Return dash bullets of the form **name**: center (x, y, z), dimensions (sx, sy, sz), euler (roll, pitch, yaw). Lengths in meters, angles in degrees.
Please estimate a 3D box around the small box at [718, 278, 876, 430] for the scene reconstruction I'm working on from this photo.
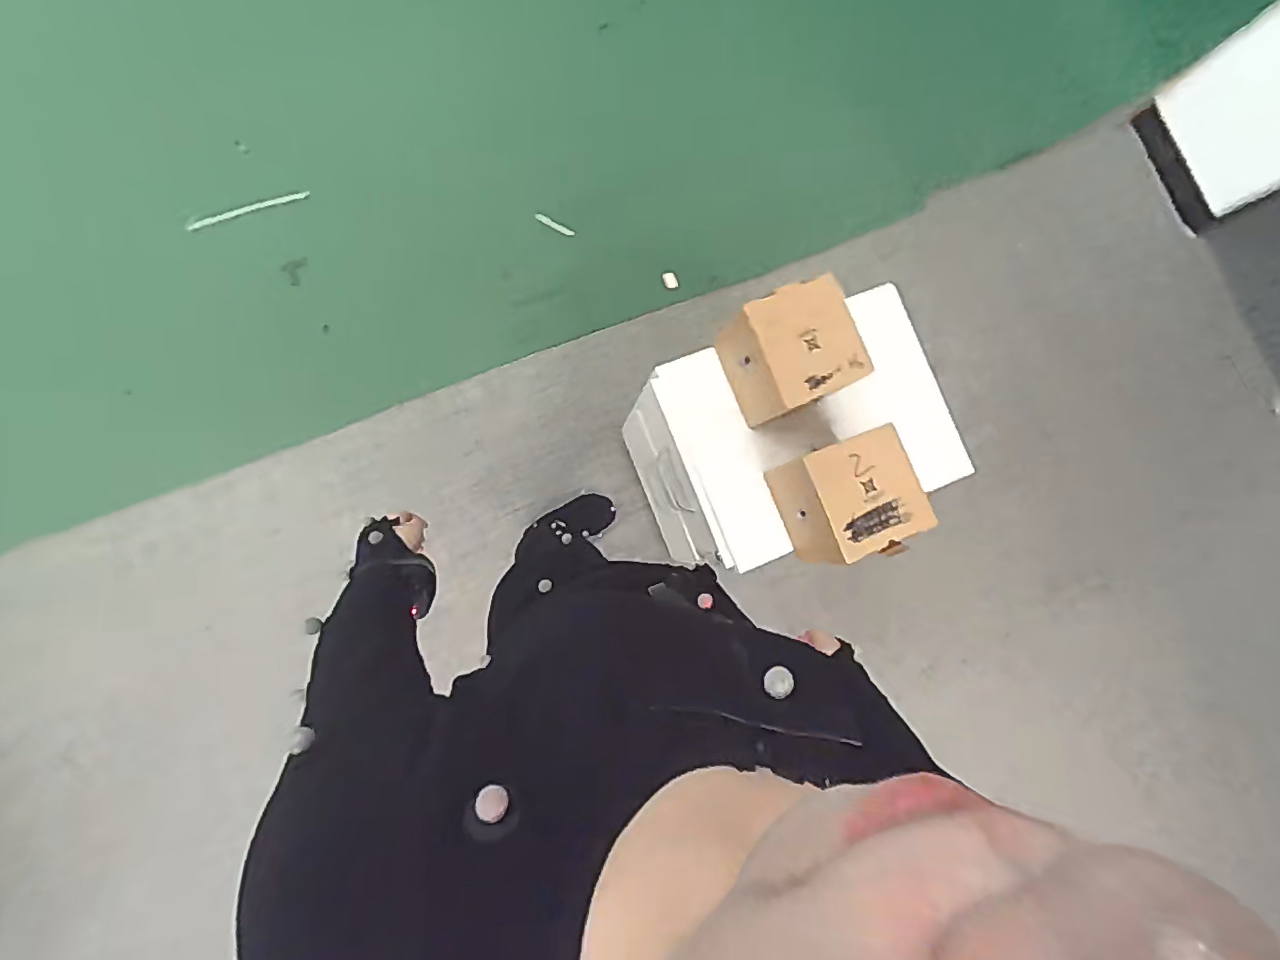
- **small box**: center (0.252, -0.202, 0.912), dimensions (0.168, 0.176, 0.179), euler (-22, 88, -10)
